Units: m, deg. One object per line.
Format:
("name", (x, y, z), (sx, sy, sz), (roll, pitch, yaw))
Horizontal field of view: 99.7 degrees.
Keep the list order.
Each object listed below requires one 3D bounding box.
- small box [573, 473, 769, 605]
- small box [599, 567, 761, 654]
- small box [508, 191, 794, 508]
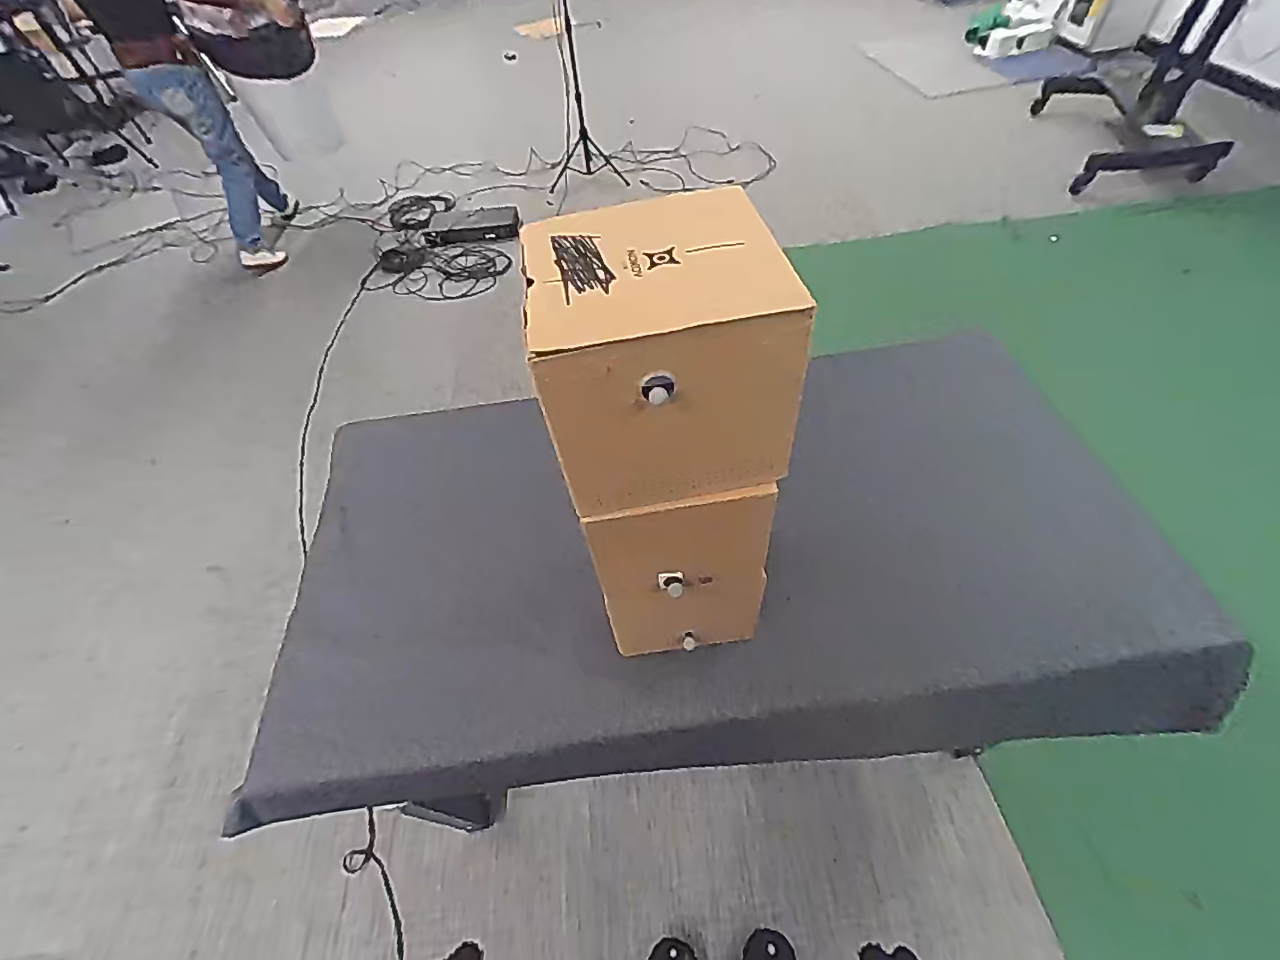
("small box", (0.025, 0.006, 0.557), (0.168, 0.176, 0.179), (-9, 53, 1))
("small box", (0.041, 0.105, 0.685), (0.179, 0.176, 0.168), (-8, 52, 0))
("small box", (0.006, -0.095, 0.429), (0.179, 0.176, 0.168), (-10, 52, 0))
